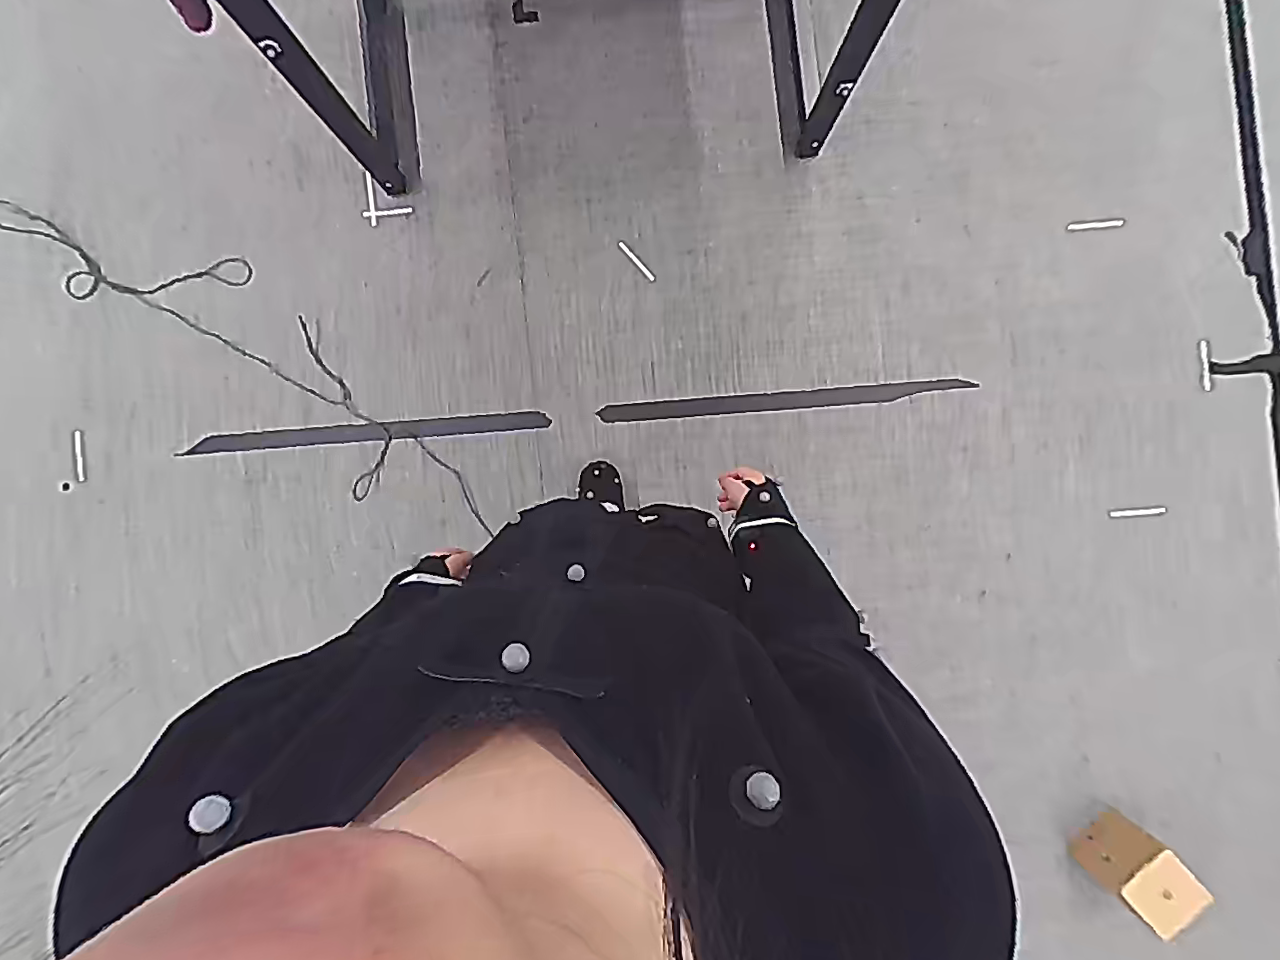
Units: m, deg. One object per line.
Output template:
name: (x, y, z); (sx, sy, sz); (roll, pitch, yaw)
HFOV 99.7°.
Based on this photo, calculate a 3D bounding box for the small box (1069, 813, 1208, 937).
small box: (1.301, 1.026, 1.427); (0.168, 0.176, 0.179); (-43, 91, 1)
